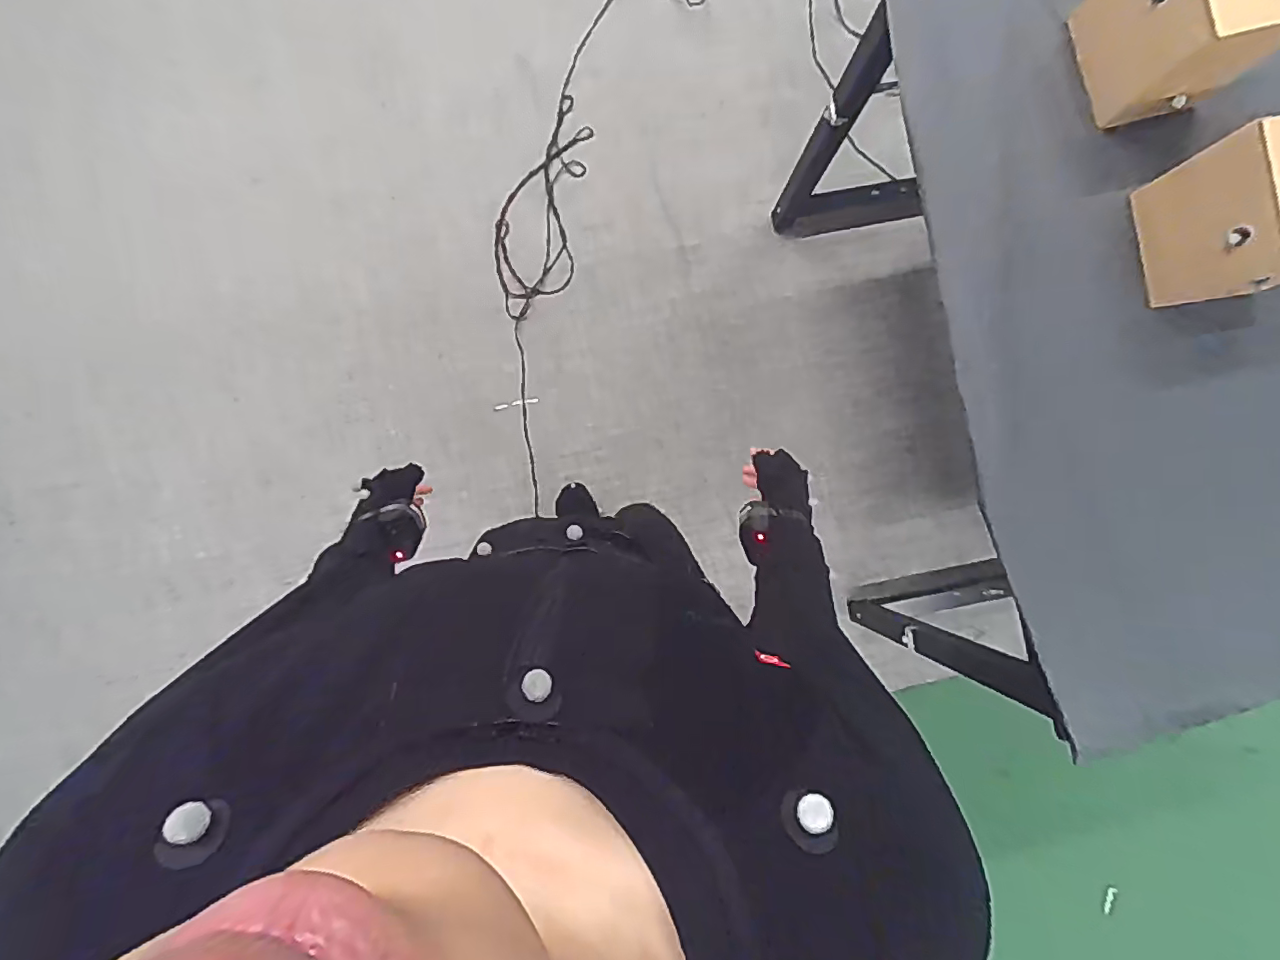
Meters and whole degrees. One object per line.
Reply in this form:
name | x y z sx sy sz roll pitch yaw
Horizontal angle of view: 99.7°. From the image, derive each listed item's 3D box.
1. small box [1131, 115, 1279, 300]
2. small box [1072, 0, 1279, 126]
small box | 0.821 -0.355 0.724 0.168 0.176 0.179 -9 88 -3
small box | 0.740 -0.631 0.733 0.168 0.176 0.179 -15 89 -2
